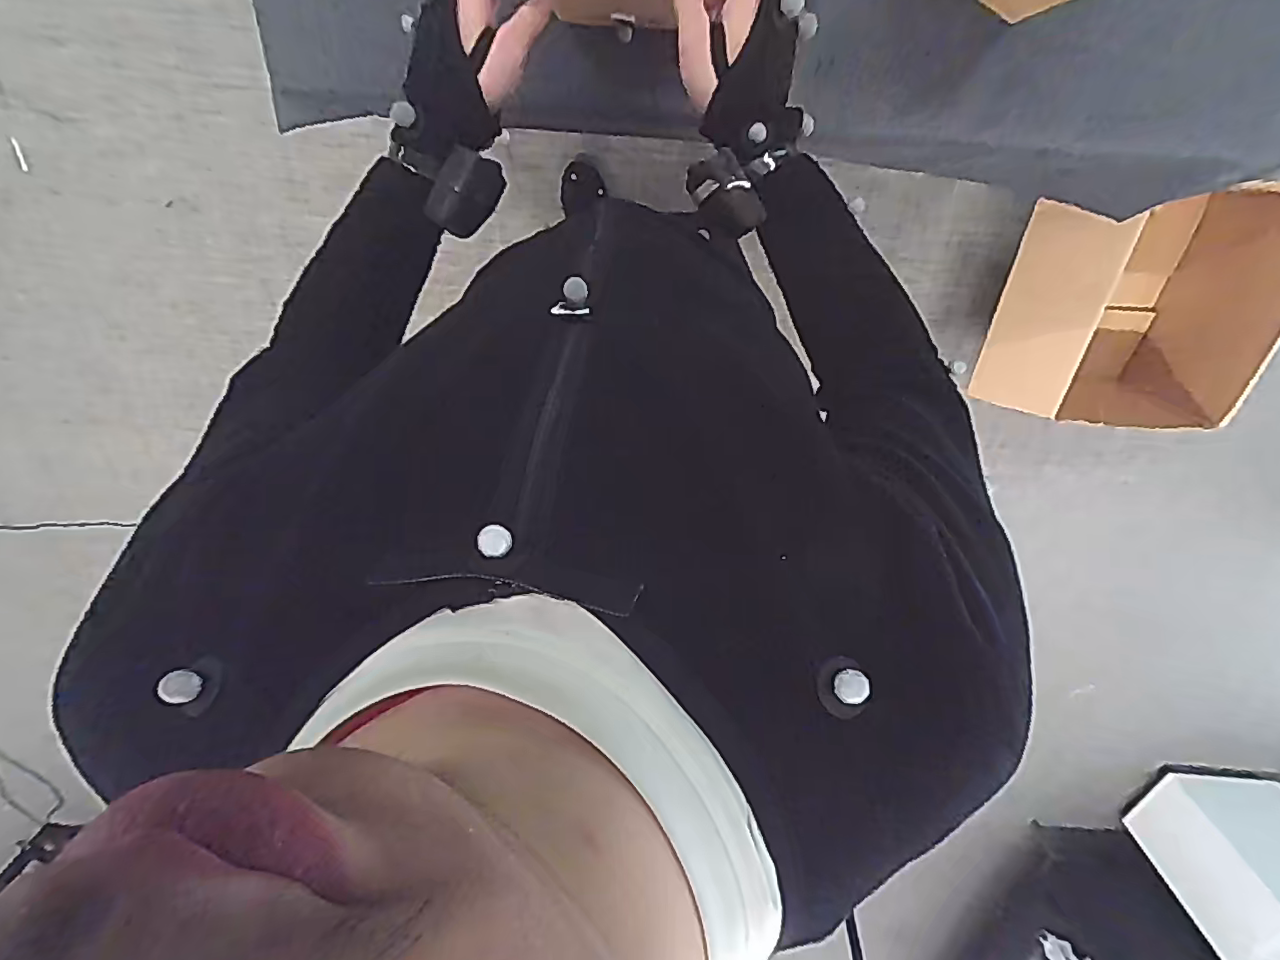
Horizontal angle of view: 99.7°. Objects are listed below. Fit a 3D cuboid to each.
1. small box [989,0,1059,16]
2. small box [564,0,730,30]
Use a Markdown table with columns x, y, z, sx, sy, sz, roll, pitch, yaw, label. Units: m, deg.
| x | y | z | sx | sy | sz | roll | pitch | yaw | label |
| --- | --- | --- | --- | --- | --- | --- | --- | --- | --- |
| 0.370 | -0.550 | 0.463 | 0.168 | 0.176 | 0.179 | 23 | 119 | -12 | small box |
| 0.004 | -0.524 | 0.469 | 0.168 | 0.176 | 0.179 | 2 | 120 | 1 | small box |
